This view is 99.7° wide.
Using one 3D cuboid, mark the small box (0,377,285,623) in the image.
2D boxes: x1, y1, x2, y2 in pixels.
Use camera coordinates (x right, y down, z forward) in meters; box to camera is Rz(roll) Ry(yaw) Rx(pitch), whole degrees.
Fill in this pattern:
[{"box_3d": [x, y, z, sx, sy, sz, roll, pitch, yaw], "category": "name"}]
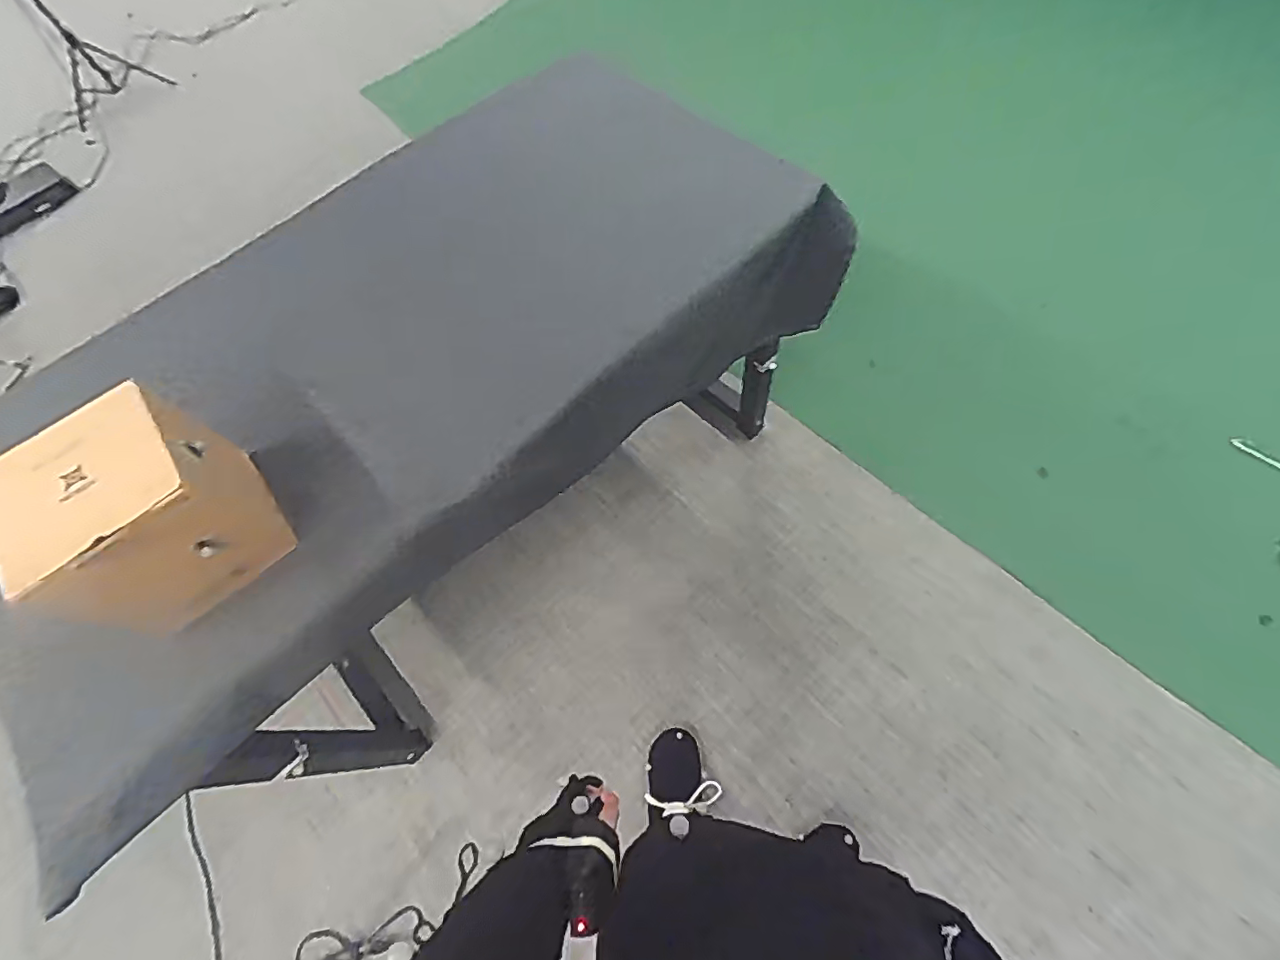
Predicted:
[{"box_3d": [-0.529, 0.032, 0.577, 0.168, 0.176, 0.179, -39, 66, -14], "category": "small box"}]
